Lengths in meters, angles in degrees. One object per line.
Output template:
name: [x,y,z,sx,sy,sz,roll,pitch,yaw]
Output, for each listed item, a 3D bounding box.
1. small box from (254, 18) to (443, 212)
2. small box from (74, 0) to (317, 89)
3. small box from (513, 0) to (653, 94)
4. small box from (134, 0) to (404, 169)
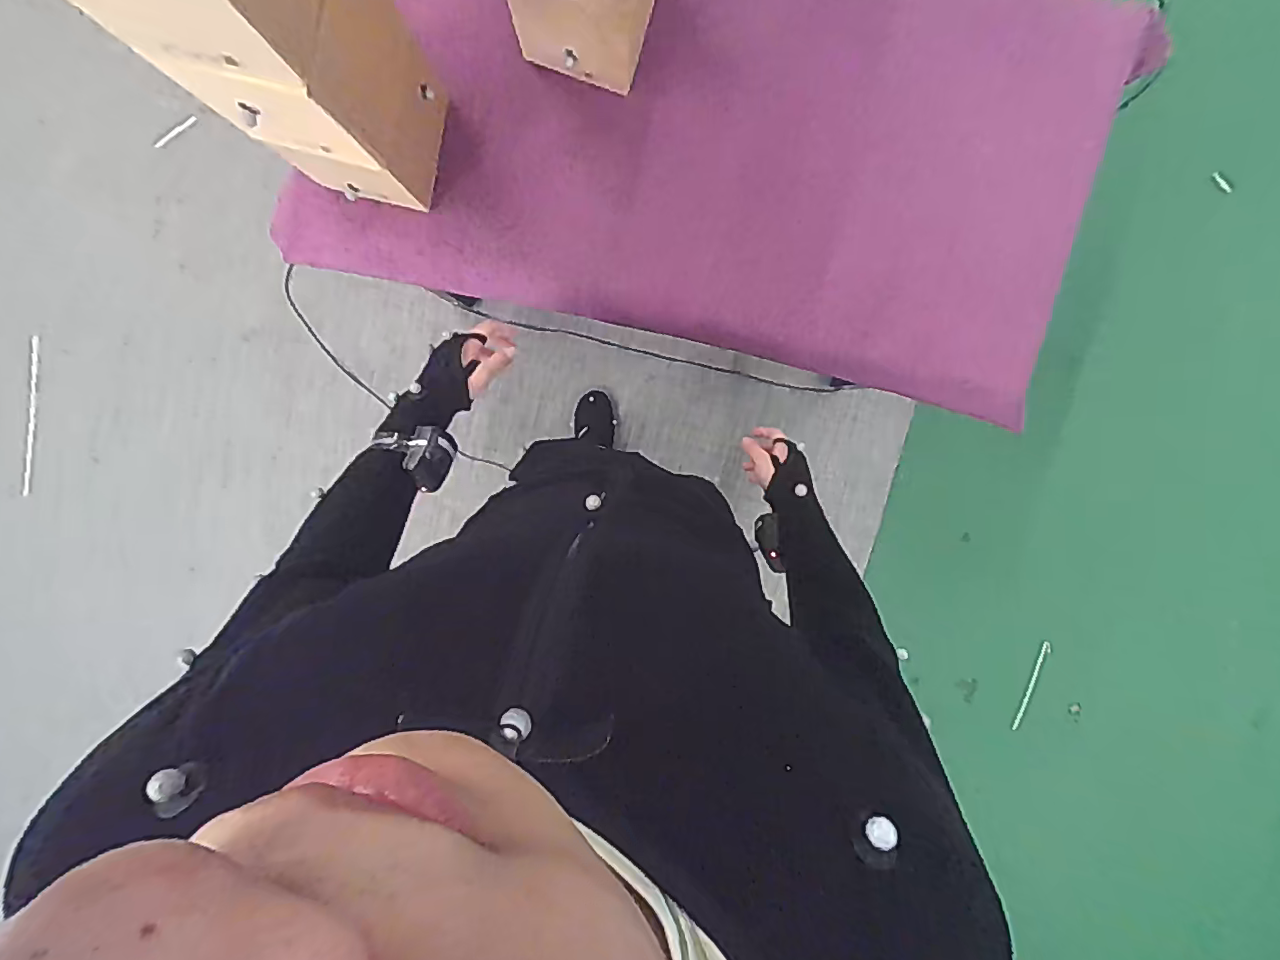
small box: [-0.384,-0.499,0.738,0.168,0.176,0.179,12,97,-3]
small box: [-0.372,-0.455,0.414,0.168,0.176,0.179,11,95,-2]
small box: [-0.071,-0.674,0.723,0.168,0.176,0.179,17,98,-4]
small box: [-0.376,-0.470,0.578,0.168,0.176,0.179,13,96,-3]
